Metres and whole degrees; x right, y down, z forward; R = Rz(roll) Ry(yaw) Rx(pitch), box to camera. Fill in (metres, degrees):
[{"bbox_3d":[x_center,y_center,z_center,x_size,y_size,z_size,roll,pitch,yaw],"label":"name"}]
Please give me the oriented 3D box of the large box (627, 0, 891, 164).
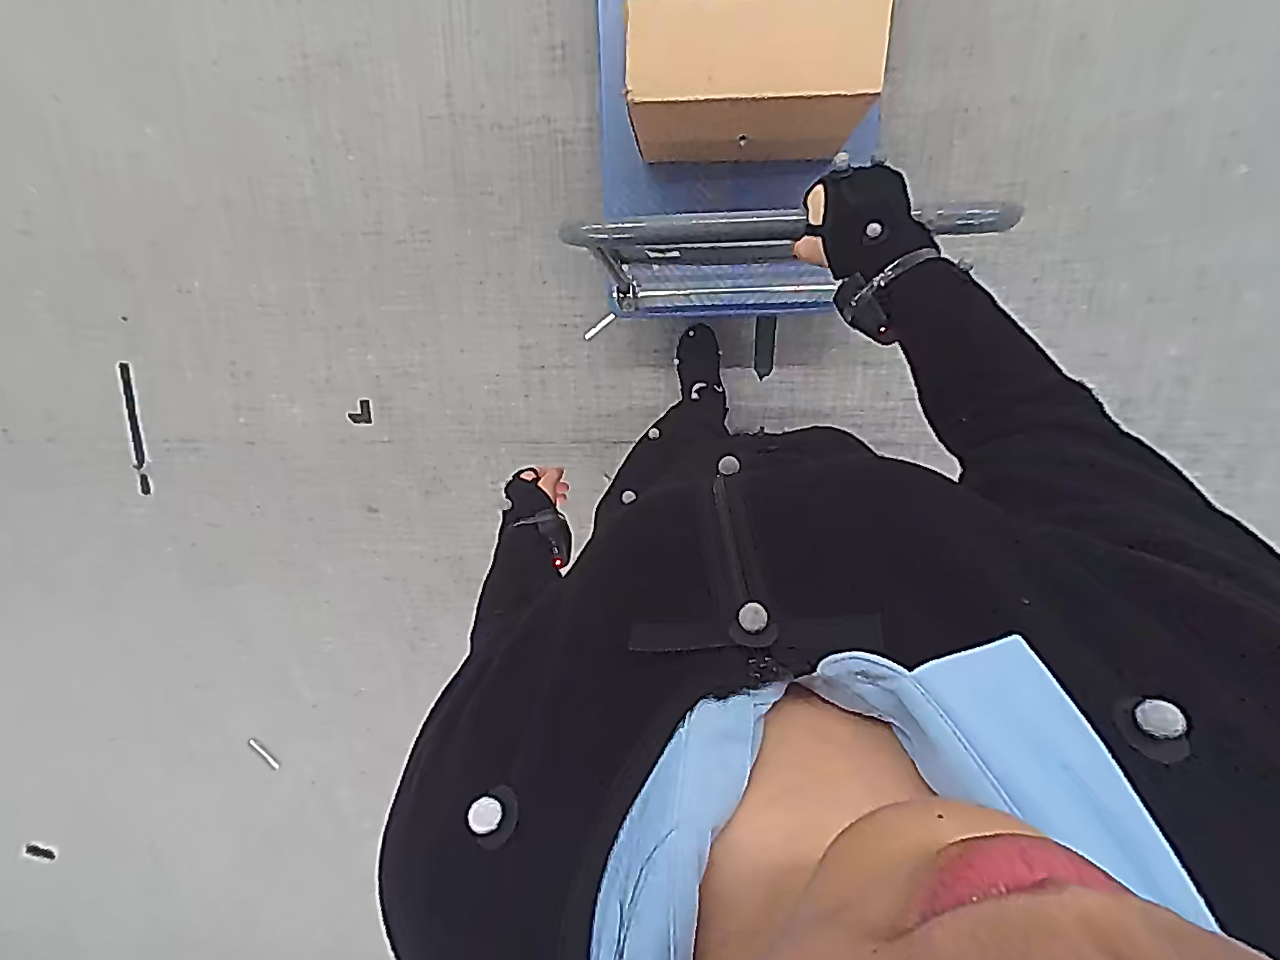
[{"bbox_3d":[0.194,-0.786,0.959,0.408,0.320,0.320,1,103,7],"label":"large box"}]
